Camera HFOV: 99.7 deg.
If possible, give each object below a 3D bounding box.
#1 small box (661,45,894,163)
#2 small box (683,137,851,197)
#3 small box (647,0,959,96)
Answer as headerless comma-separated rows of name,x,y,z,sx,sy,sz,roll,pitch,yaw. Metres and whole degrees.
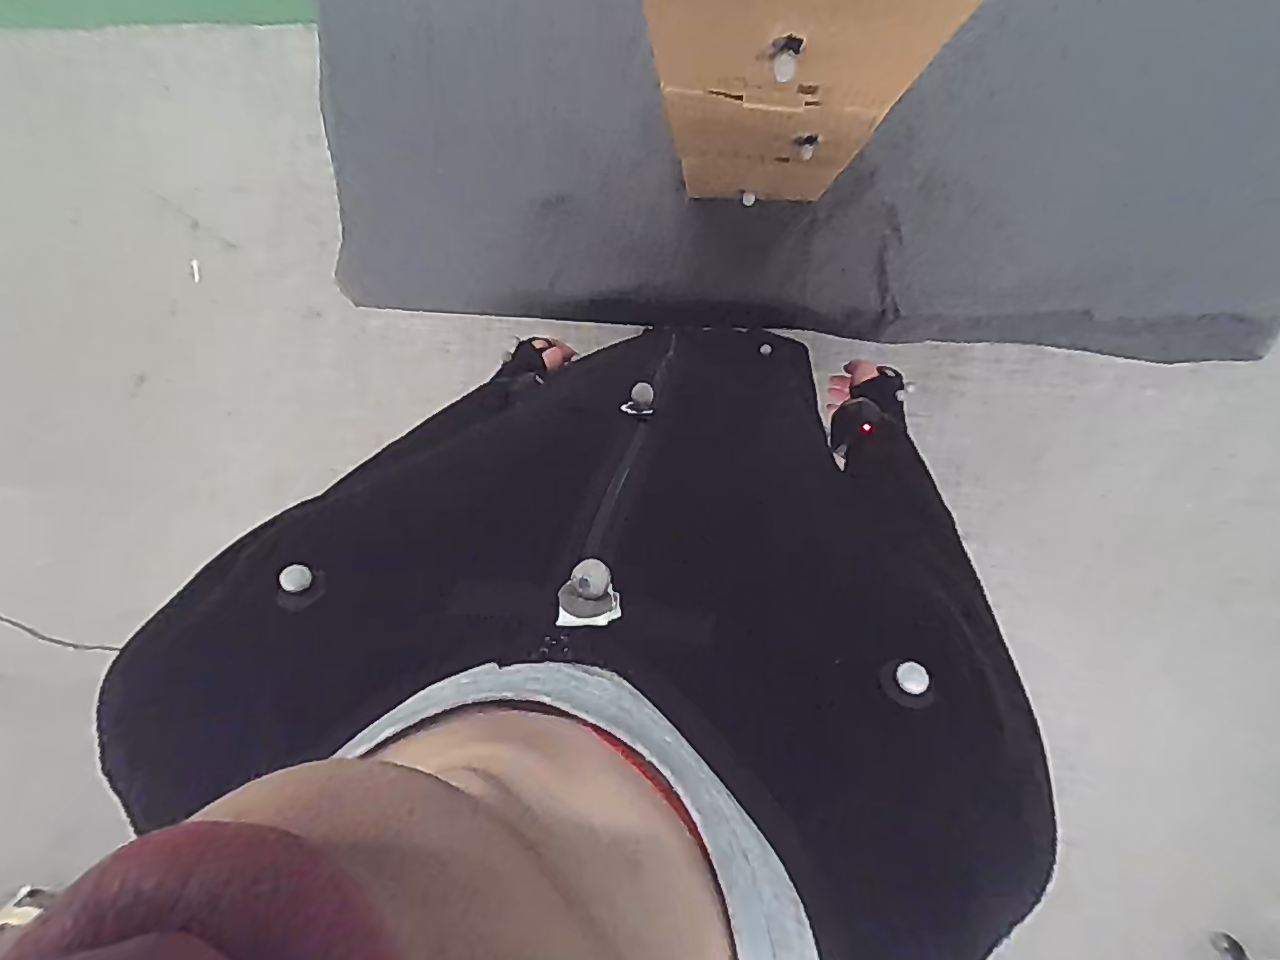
small box,0.116,-0.375,0.432,0.168,0.176,0.179,8,106,5
small box,0.140,-0.424,0.585,0.168,0.176,0.179,6,108,7
small box,0.096,-0.329,0.277,0.168,0.176,0.179,10,109,5
